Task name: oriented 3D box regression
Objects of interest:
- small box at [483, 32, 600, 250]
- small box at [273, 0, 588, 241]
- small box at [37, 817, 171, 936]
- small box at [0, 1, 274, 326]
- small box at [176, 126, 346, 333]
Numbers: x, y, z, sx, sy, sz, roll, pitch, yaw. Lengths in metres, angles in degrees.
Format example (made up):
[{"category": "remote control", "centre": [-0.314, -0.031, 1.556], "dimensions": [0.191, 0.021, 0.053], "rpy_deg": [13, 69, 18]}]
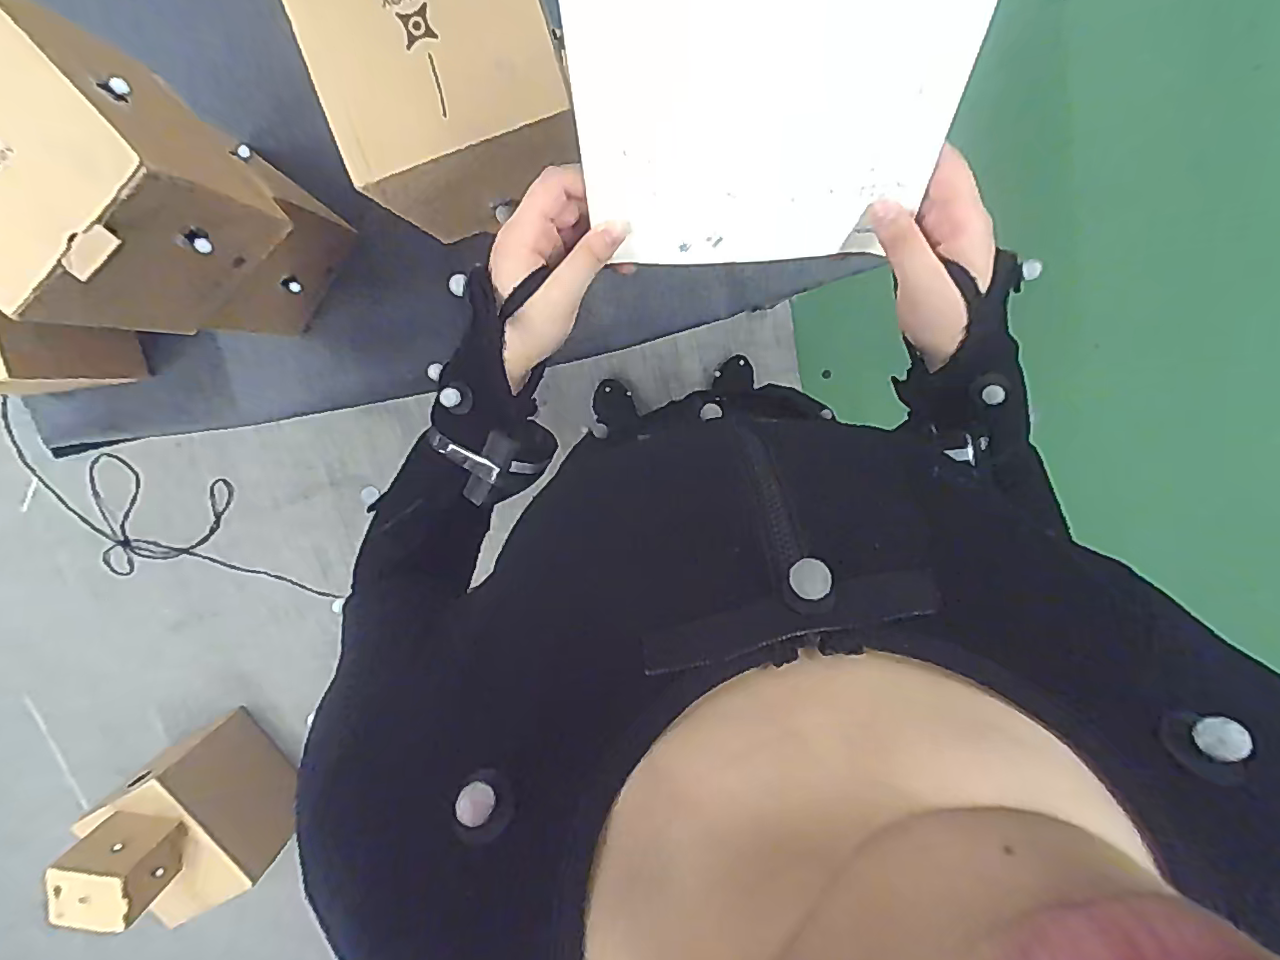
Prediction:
[{"category": "small box", "centre": [-0.151, -0.368, 0.591], "dimensions": [0.179, 0.176, 0.168], "rpy_deg": [17, 102, -1]}, {"category": "small box", "centre": [-0.150, -0.320, 0.433], "dimensions": [0.168, 0.176, 0.179], "rpy_deg": [-16, 101, 6]}, {"category": "small box", "centre": [-1.311, 0.973, 1.338], "dimensions": [0.179, 0.176, 0.168], "rpy_deg": [9, 102, -3]}, {"category": "small box", "centre": [-0.469, -0.248, 0.457], "dimensions": [0.168, 0.176, 0.179], "rpy_deg": [-40, 97, 8]}, {"category": "small box", "centre": [-0.483, -0.285, 0.616], "dimensions": [0.179, 0.176, 0.168], "rpy_deg": [37, 99, -6]}]
